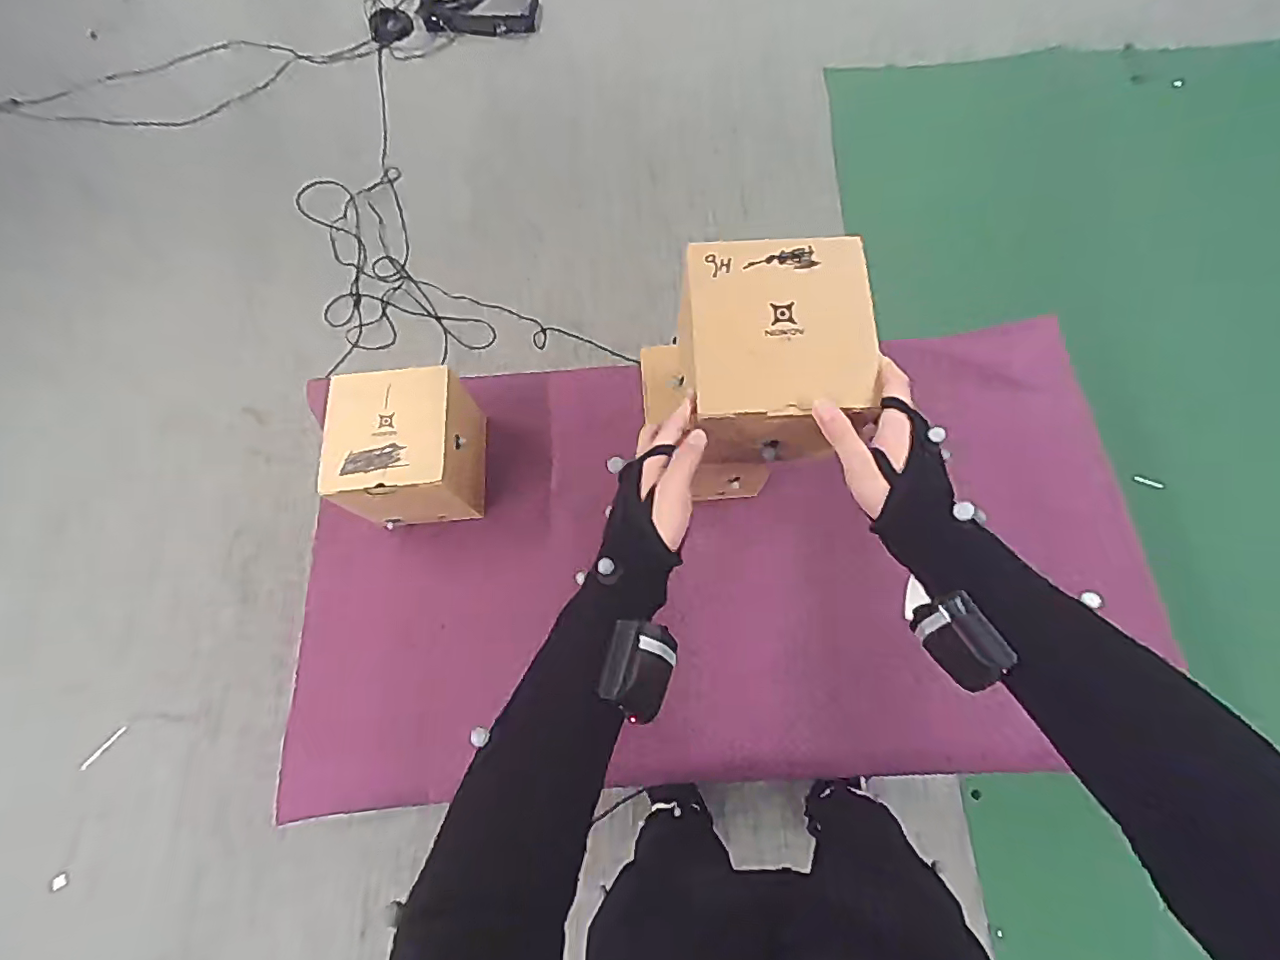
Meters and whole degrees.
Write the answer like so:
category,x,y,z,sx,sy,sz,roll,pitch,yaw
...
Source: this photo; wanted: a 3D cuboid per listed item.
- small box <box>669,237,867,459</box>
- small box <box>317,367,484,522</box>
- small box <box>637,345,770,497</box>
category,x,y,z,sx,sy,sz,roll,pitch,yaw
small box,0.117,-0.123,0.568,0.168,0.176,0.179,-3,77,1
small box,-0.335,-0.041,0.793,0.168,0.176,0.179,-6,70,1
small box,0.087,-0.079,0.781,0.168,0.176,0.179,-5,71,2
